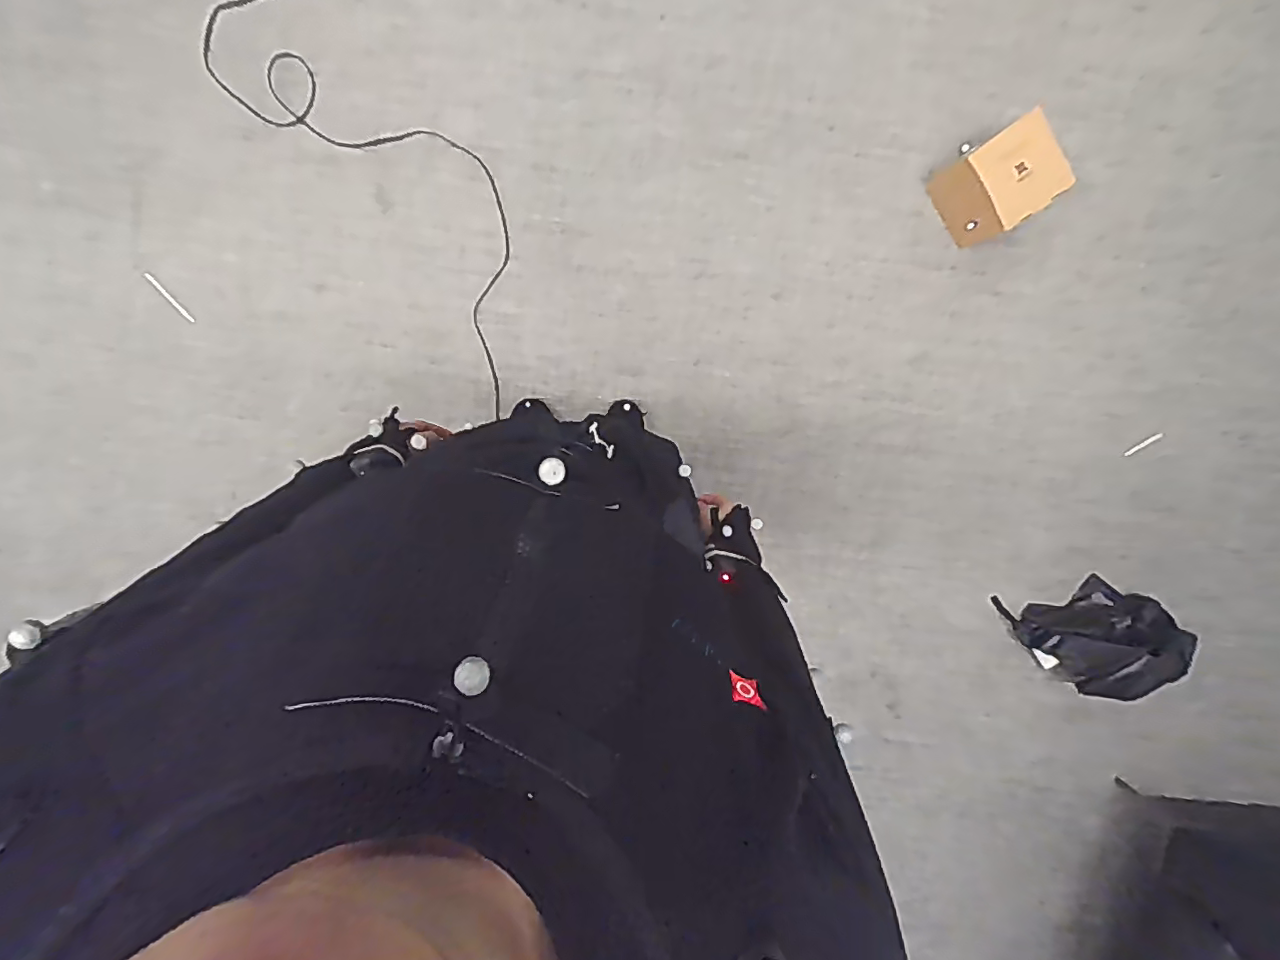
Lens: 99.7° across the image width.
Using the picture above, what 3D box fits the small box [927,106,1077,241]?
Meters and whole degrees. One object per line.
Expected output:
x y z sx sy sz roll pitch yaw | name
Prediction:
0.766 -0.640 1.162 0.168 0.176 0.179 -37 100 5 | small box
